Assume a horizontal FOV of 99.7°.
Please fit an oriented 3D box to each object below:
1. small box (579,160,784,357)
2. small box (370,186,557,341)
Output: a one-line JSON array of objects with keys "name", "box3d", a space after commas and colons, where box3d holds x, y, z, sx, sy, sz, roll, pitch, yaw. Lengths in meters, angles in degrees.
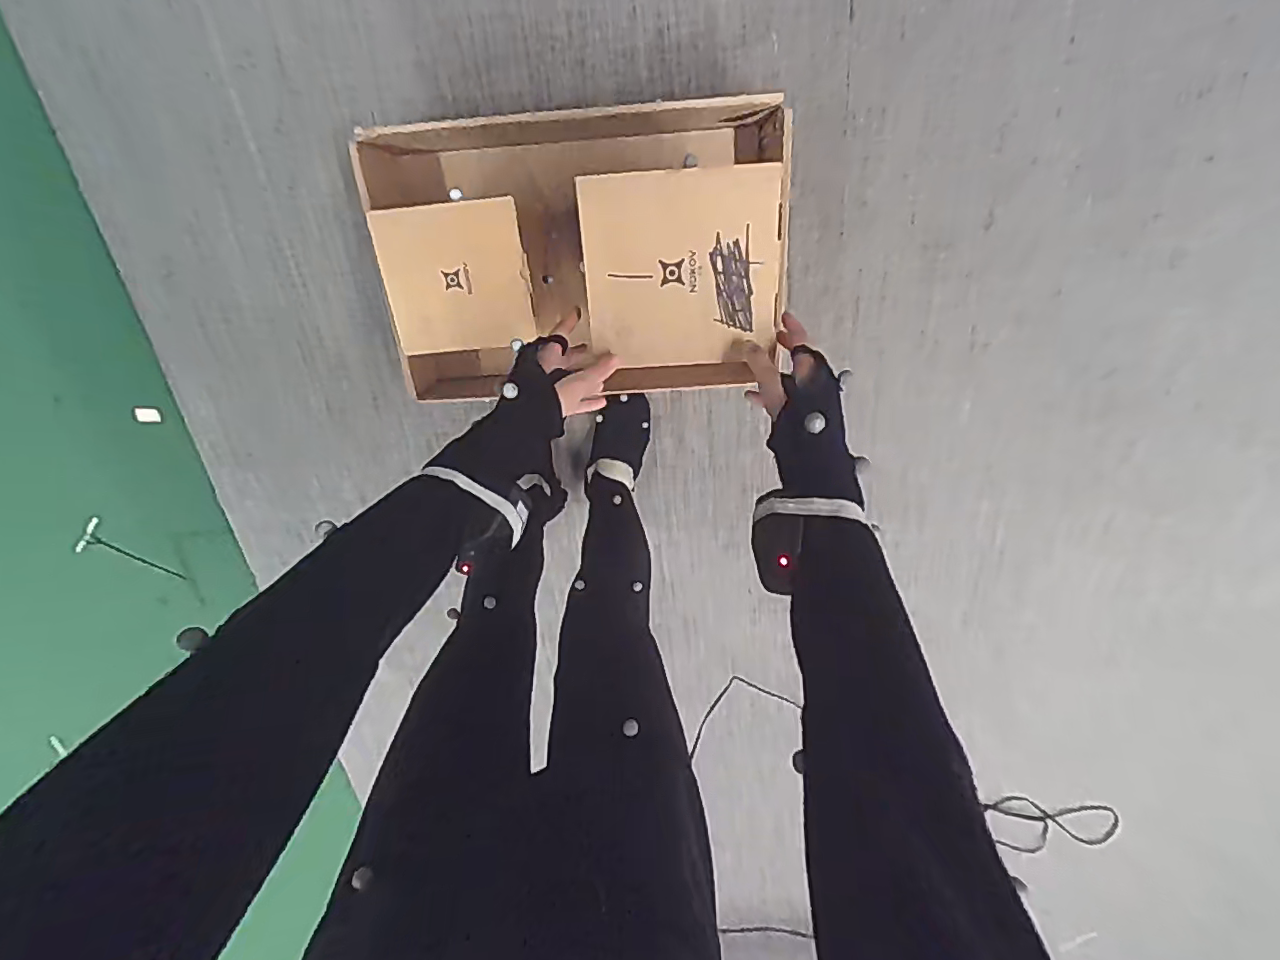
[{"name": "small box", "box3d": [0.038, -0.230, 0.560, 0.179, 0.176, 0.168, -1, 116, 3]}, {"name": "small box", "box3d": [-0.218, -0.287, 0.722, 0.179, 0.176, 0.168, -5, 115, 2]}]
